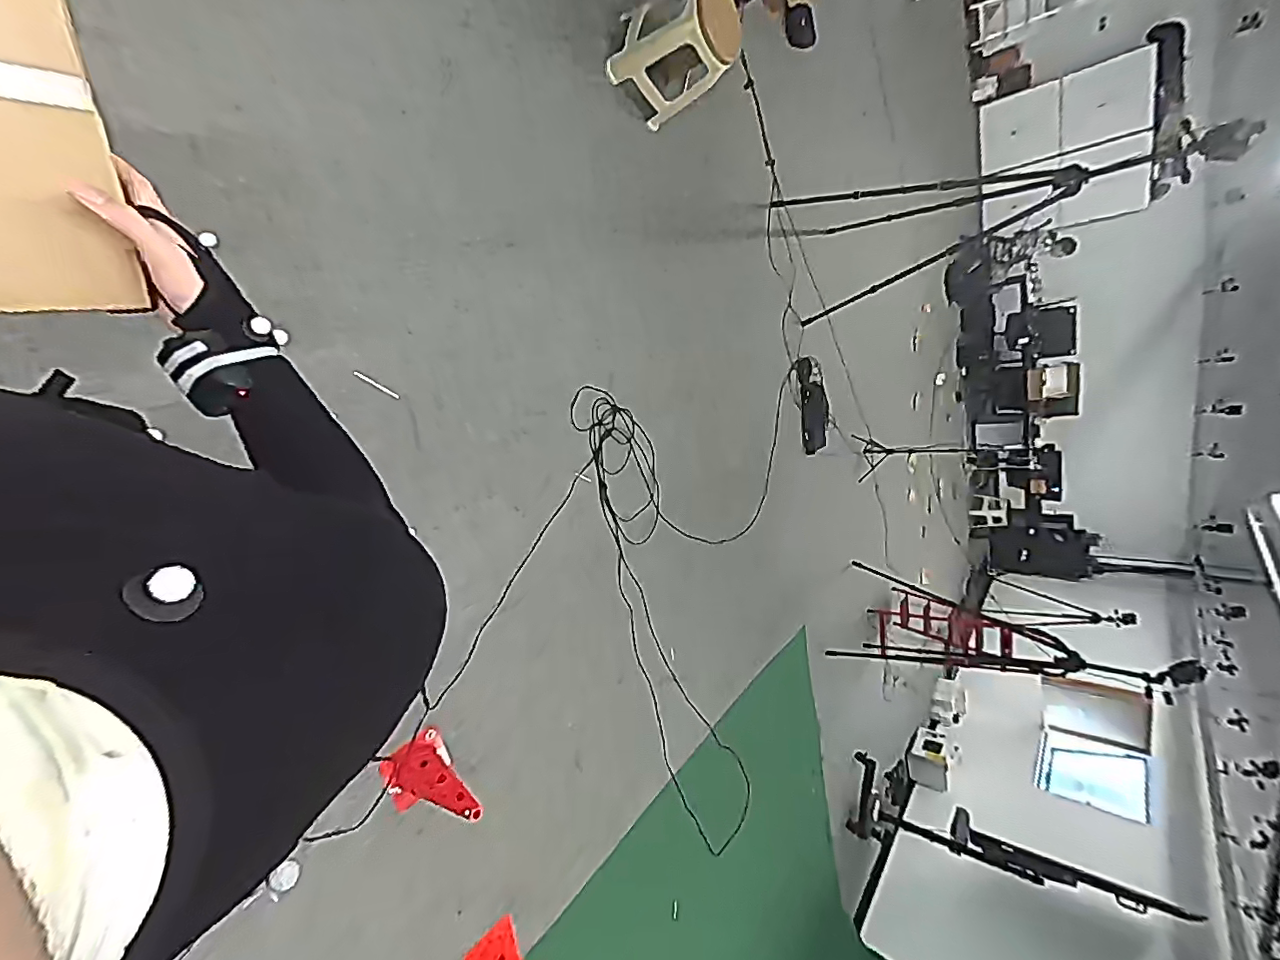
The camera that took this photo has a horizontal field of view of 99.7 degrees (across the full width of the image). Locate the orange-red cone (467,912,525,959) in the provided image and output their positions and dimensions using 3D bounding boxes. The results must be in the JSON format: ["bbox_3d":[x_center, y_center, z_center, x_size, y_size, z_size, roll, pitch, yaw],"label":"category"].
[{"bbox_3d":[-0.411,1.741,1.881,0.199,0.360,0.198,-18,106,-48],"label":"orange-red cone"}]

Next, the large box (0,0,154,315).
[{"bbox_3d":[-0.672,-0.285,0.377,0.408,0.320,0.320,-22,125,-44],"label":"large box"}]
